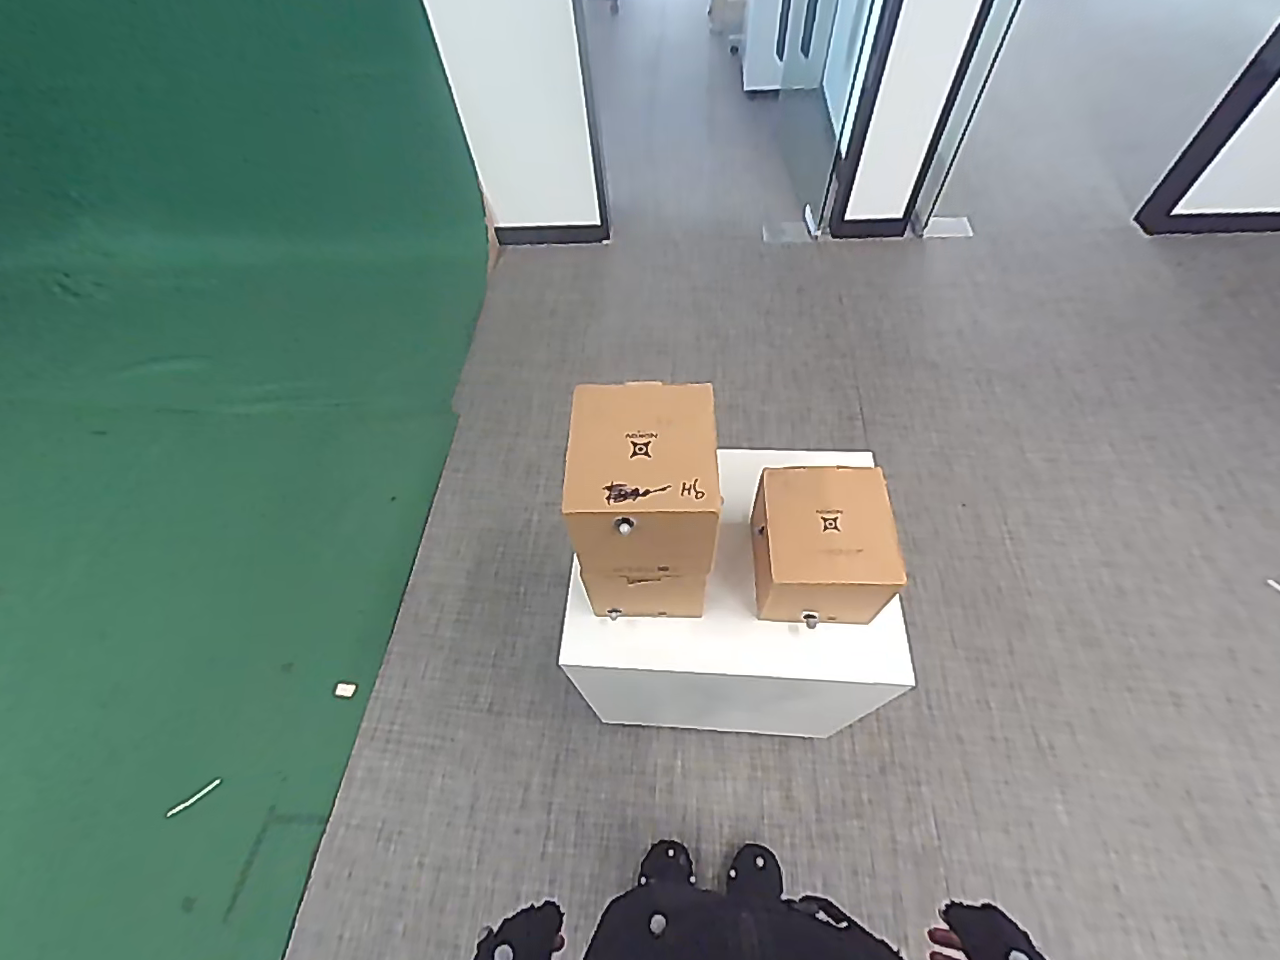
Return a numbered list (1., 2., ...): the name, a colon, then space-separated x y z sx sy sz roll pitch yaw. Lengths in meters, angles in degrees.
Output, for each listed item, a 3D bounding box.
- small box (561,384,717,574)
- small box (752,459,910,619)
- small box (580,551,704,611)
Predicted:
1. small box: 0.005 0.001 0.668 0.168 0.176 0.179 -1 57 4
2. small box: 0.255 0.087 0.771 0.168 0.176 0.179 -2 60 5
3. small box: 0.011 0.088 0.806 0.168 0.176 0.179 -1 57 4
